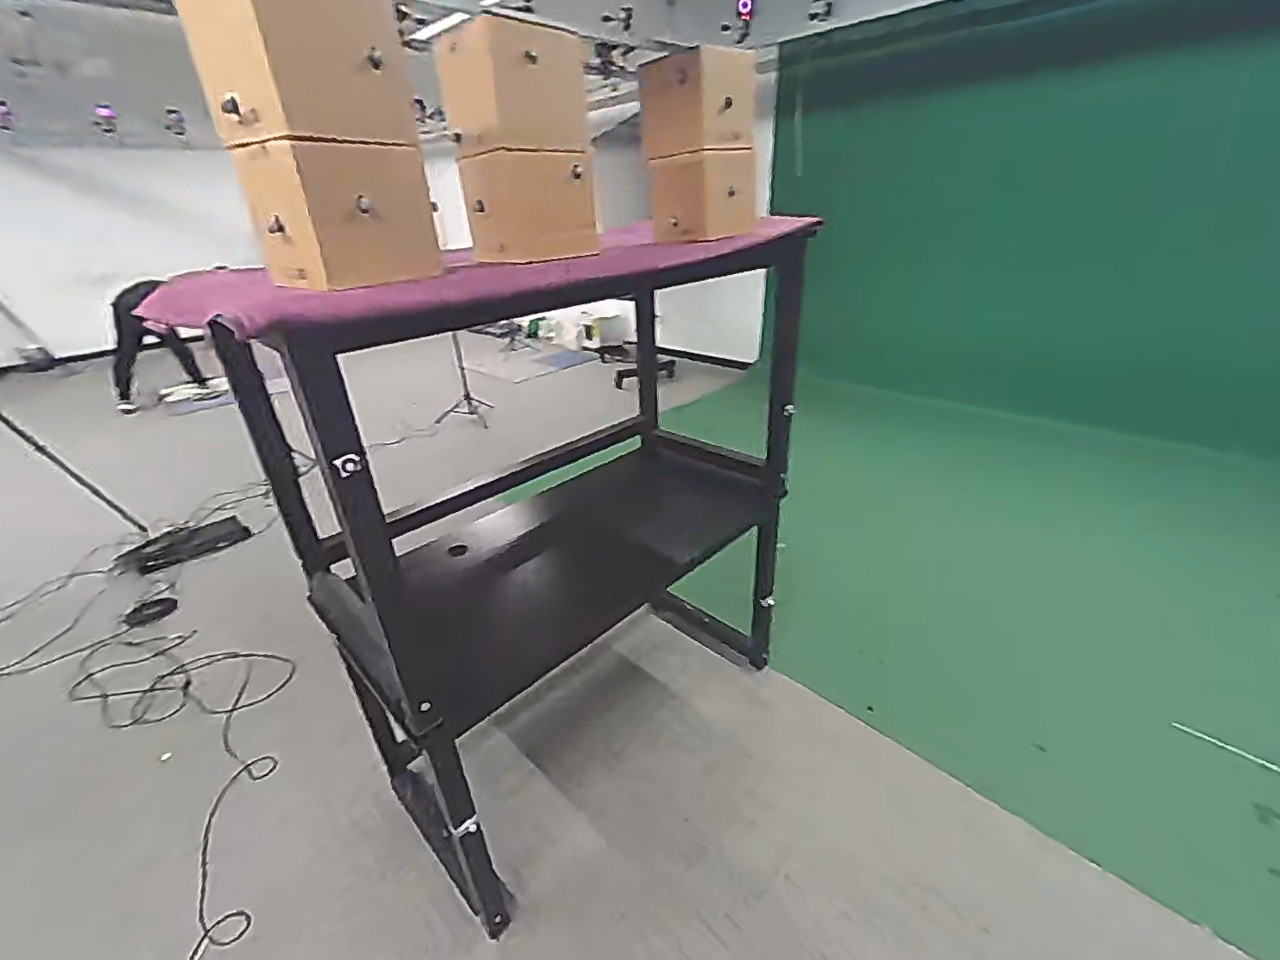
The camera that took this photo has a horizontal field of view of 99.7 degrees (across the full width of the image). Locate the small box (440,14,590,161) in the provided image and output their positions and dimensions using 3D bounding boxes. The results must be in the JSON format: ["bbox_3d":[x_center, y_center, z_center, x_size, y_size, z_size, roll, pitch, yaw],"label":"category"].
[{"bbox_3d":[-0.200,-0.626,0.894,0.179,0.176,0.168,-24,32,-37],"label":"small box"}]

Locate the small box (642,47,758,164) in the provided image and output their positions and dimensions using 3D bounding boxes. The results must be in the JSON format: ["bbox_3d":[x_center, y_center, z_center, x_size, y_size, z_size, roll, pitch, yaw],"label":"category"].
[{"bbox_3d":[0.127,-0.764,1.117,0.168,0.176,0.179,-27,33,-36],"label":"small box"}]

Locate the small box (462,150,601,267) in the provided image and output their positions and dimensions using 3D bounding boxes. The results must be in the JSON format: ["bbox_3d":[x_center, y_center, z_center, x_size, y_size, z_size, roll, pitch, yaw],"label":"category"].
[{"bbox_3d":[-0.186,-0.477,0.963,0.179,0.176,0.168,-25,33,-37],"label":"small box"}]

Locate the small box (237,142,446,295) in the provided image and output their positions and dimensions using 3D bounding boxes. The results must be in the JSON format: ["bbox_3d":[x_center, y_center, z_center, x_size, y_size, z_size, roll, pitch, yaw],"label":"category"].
[{"bbox_3d":[-0.397,-0.356,0.742,0.168,0.176,0.179,17,34,32],"label":"small box"}]

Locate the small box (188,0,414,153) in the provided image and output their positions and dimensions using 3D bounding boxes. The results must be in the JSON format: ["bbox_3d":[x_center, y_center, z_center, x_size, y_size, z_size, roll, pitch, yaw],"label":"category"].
[{"bbox_3d":[-0.404,-0.501,0.668,0.168,0.176,0.179,14,32,30],"label":"small box"}]
